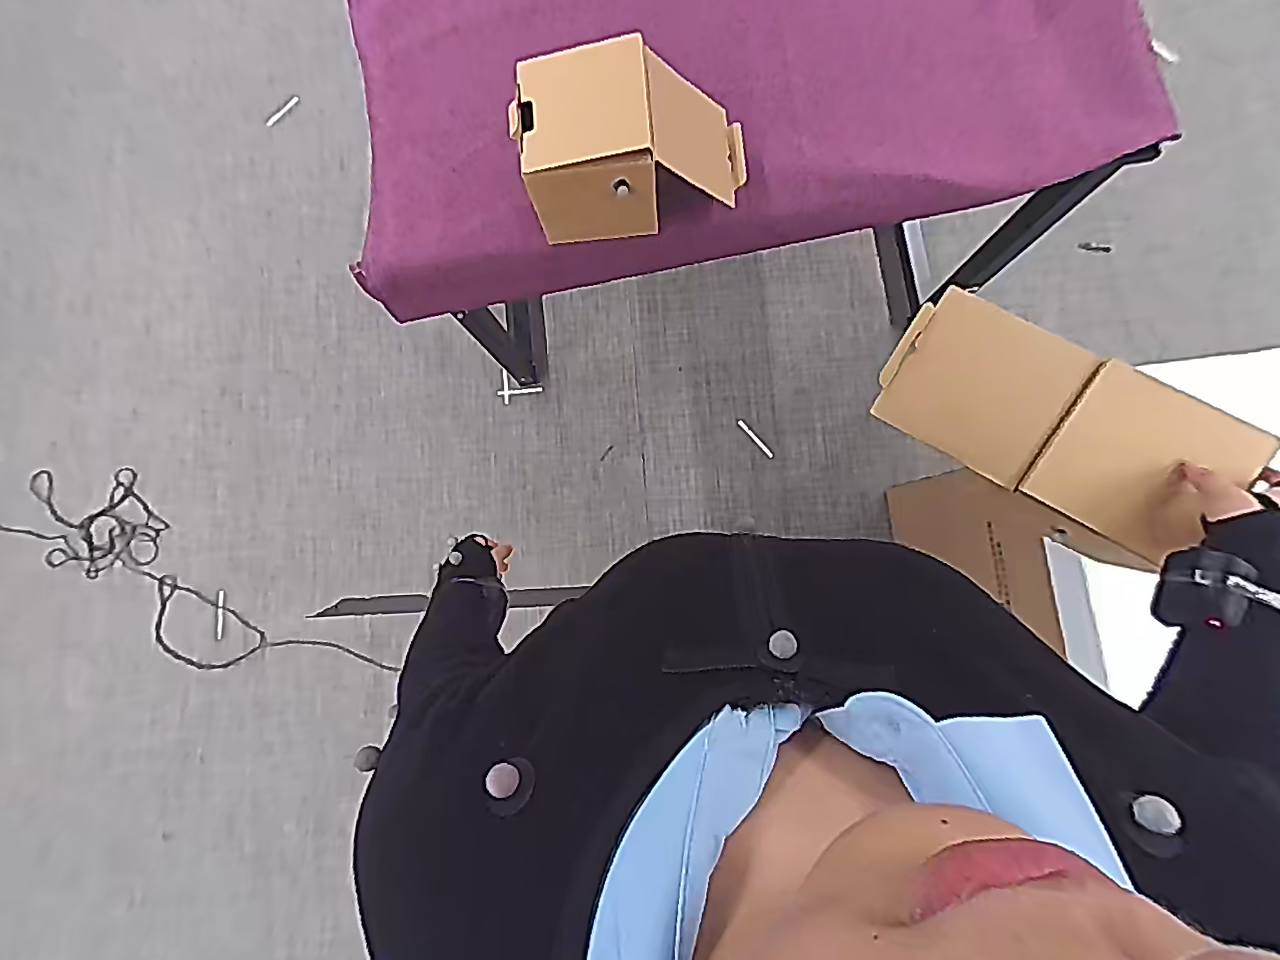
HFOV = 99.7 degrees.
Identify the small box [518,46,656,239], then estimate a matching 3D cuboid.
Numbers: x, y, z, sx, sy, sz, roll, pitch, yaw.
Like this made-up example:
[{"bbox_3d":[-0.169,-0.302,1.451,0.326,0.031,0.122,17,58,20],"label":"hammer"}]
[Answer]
[{"bbox_3d":[-0.067,-0.476,0.786,0.179,0.176,0.168,-4,82,4],"label":"small box"}]
